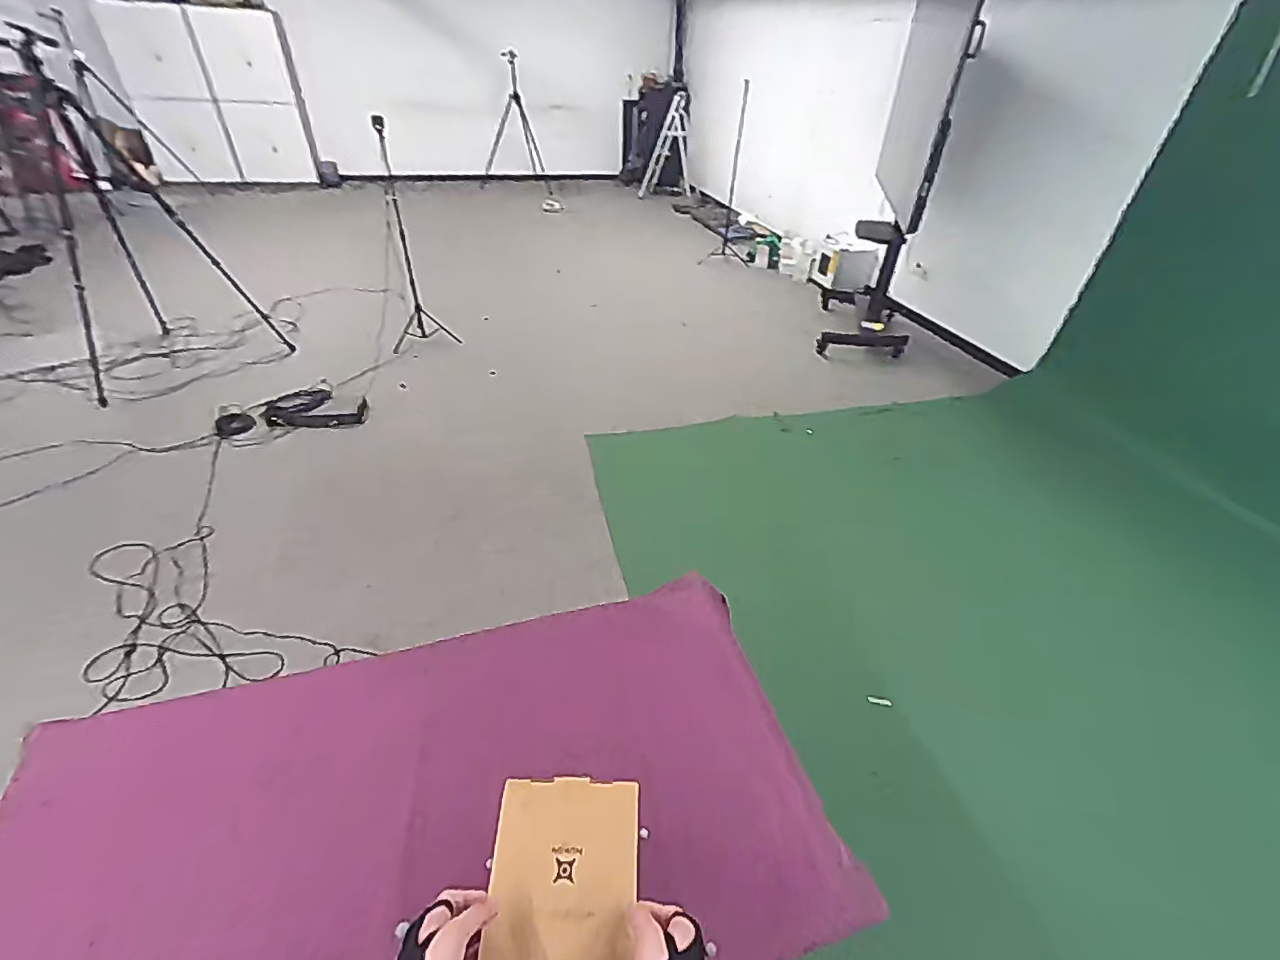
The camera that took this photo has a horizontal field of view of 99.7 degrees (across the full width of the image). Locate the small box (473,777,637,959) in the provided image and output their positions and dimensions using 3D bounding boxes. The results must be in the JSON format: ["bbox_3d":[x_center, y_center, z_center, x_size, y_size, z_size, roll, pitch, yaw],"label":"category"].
[{"bbox_3d":[-0.092,0.488,0.670,0.168,0.176,0.179,3,49,0],"label":"small box"}]
